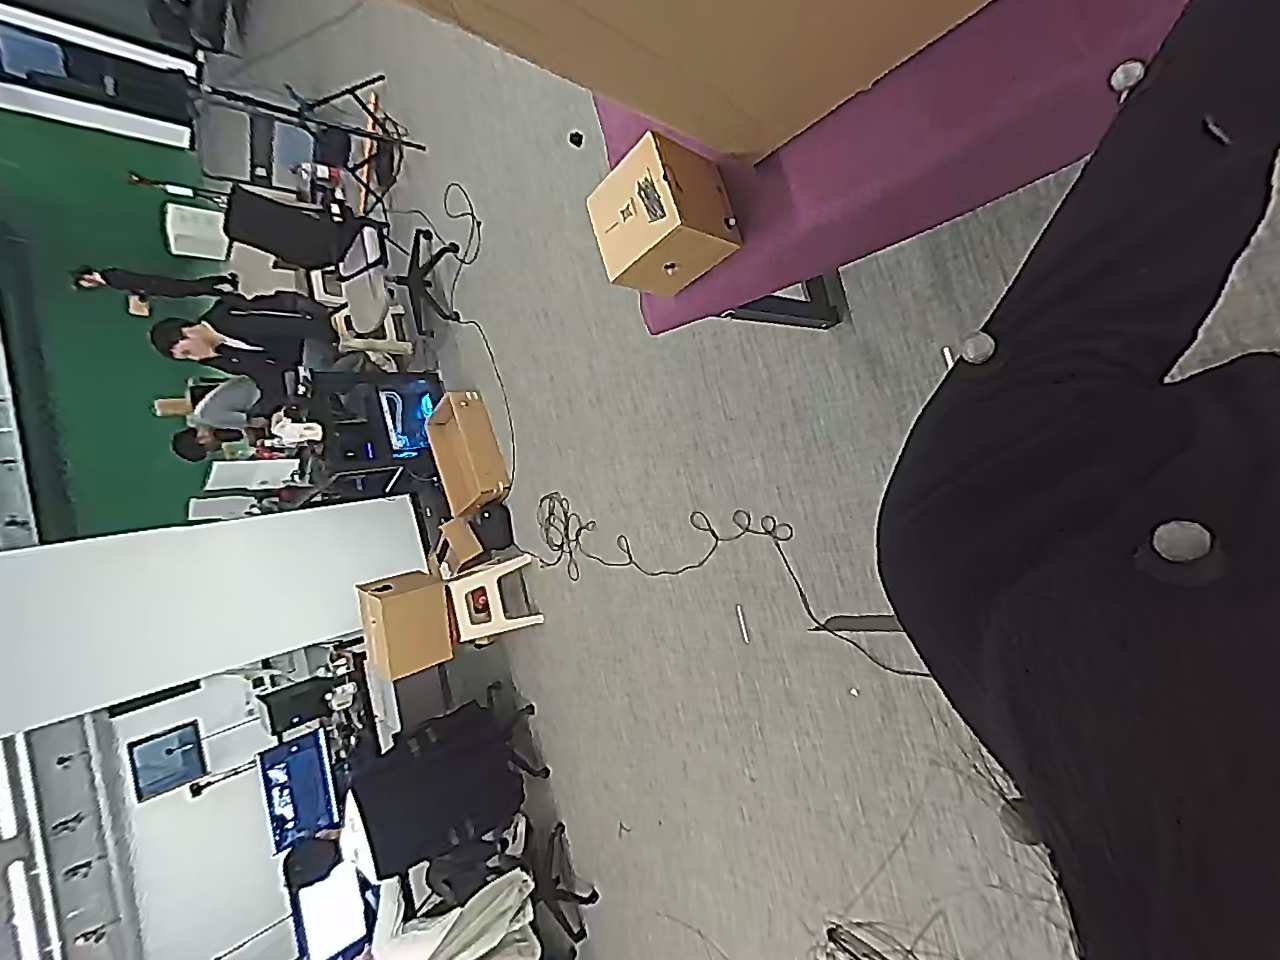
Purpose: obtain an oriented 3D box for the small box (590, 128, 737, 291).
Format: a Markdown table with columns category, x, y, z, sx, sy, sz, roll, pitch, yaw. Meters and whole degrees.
| category | x | y | z | sx | sy | sz | roll | pitch | yaw |
| --- | --- | --- | --- | --- | --- | --- | --- | --- | --- |
| small box | 0.046 | -0.450 | 0.931 | 0.179 | 0.176 | 0.168 | -23 | 79 | 45 |
